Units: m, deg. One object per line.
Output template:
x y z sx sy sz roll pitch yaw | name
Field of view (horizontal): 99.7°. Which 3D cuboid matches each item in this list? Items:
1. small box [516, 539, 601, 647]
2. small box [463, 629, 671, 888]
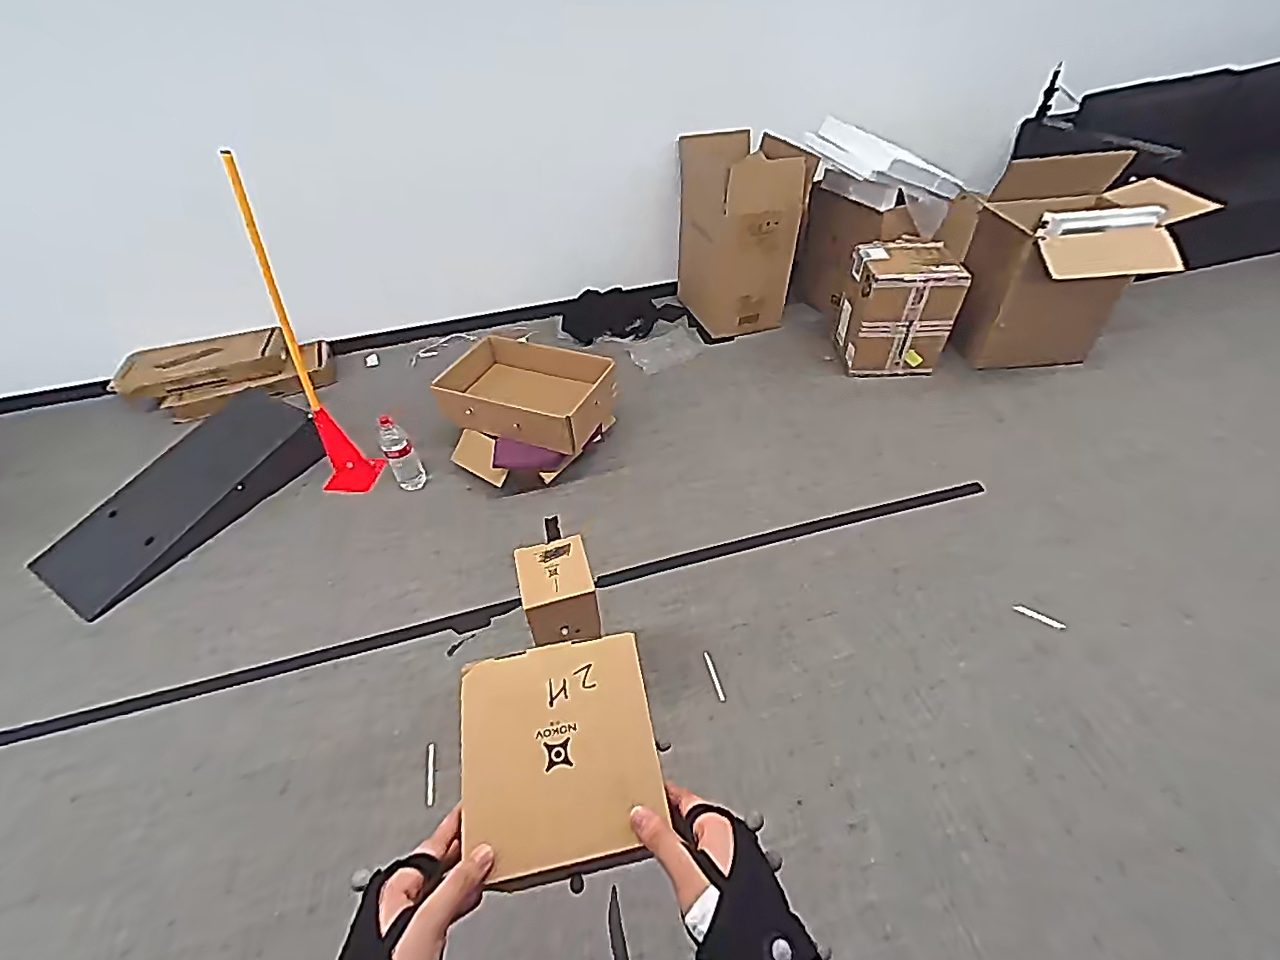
-0.197 0.277 1.313 0.168 0.176 0.179 -14 45 -10 | small box
-0.067 0.274 0.530 0.168 0.176 0.179 -11 52 -7 | small box
